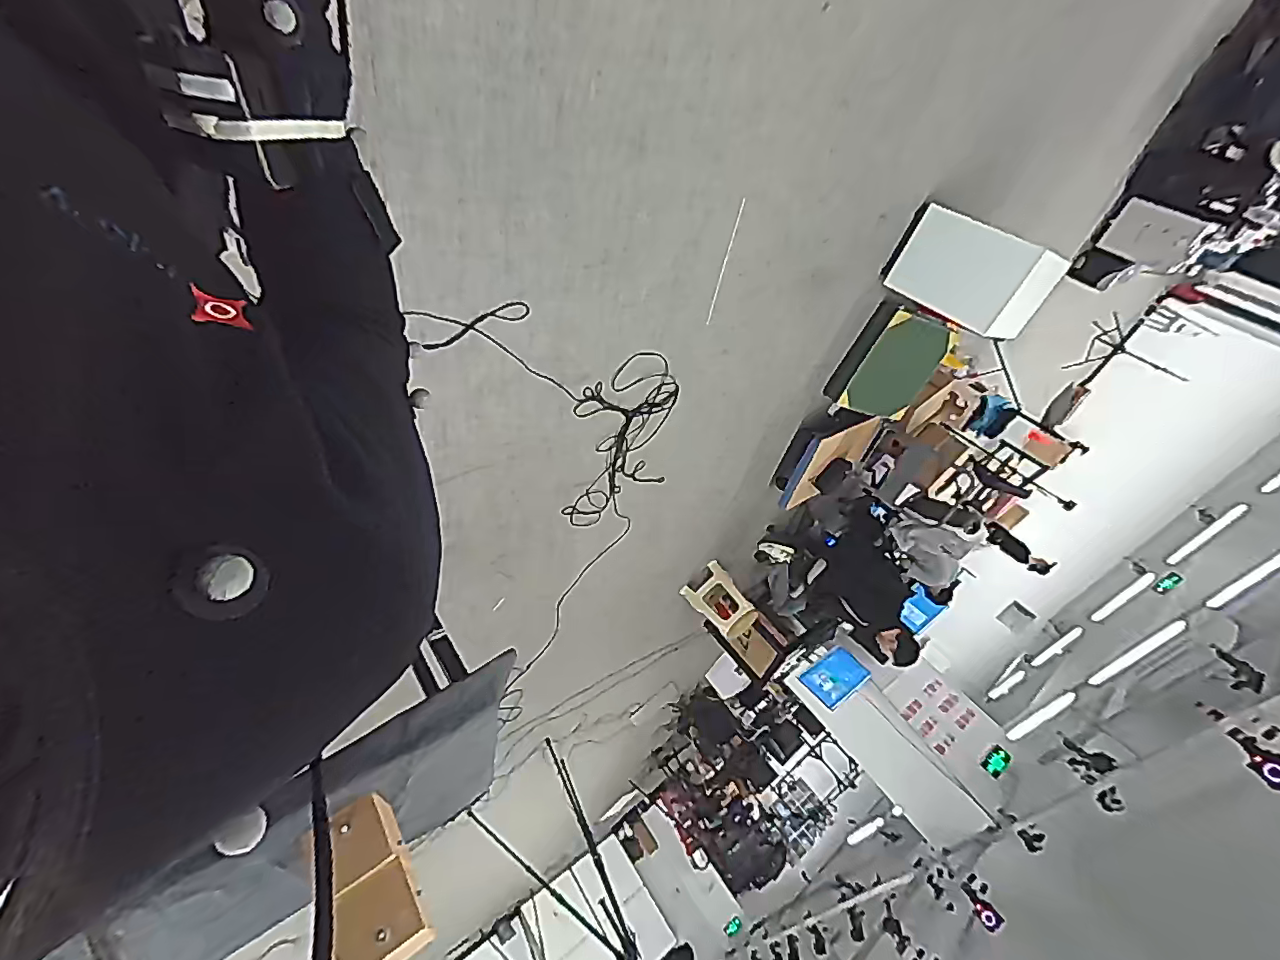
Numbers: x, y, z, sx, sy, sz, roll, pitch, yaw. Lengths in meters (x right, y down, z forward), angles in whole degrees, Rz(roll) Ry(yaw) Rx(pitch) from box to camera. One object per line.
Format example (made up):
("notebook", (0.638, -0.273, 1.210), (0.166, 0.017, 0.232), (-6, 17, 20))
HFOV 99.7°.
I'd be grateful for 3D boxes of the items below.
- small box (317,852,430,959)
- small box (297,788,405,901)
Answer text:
("small box", (-0.614, 1.009, 1.253), (0.179, 0.176, 0.168), (-23, 143, -29))
("small box", (-0.704, 0.895, 1.326), (0.168, 0.176, 0.179), (-27, 146, -27))
